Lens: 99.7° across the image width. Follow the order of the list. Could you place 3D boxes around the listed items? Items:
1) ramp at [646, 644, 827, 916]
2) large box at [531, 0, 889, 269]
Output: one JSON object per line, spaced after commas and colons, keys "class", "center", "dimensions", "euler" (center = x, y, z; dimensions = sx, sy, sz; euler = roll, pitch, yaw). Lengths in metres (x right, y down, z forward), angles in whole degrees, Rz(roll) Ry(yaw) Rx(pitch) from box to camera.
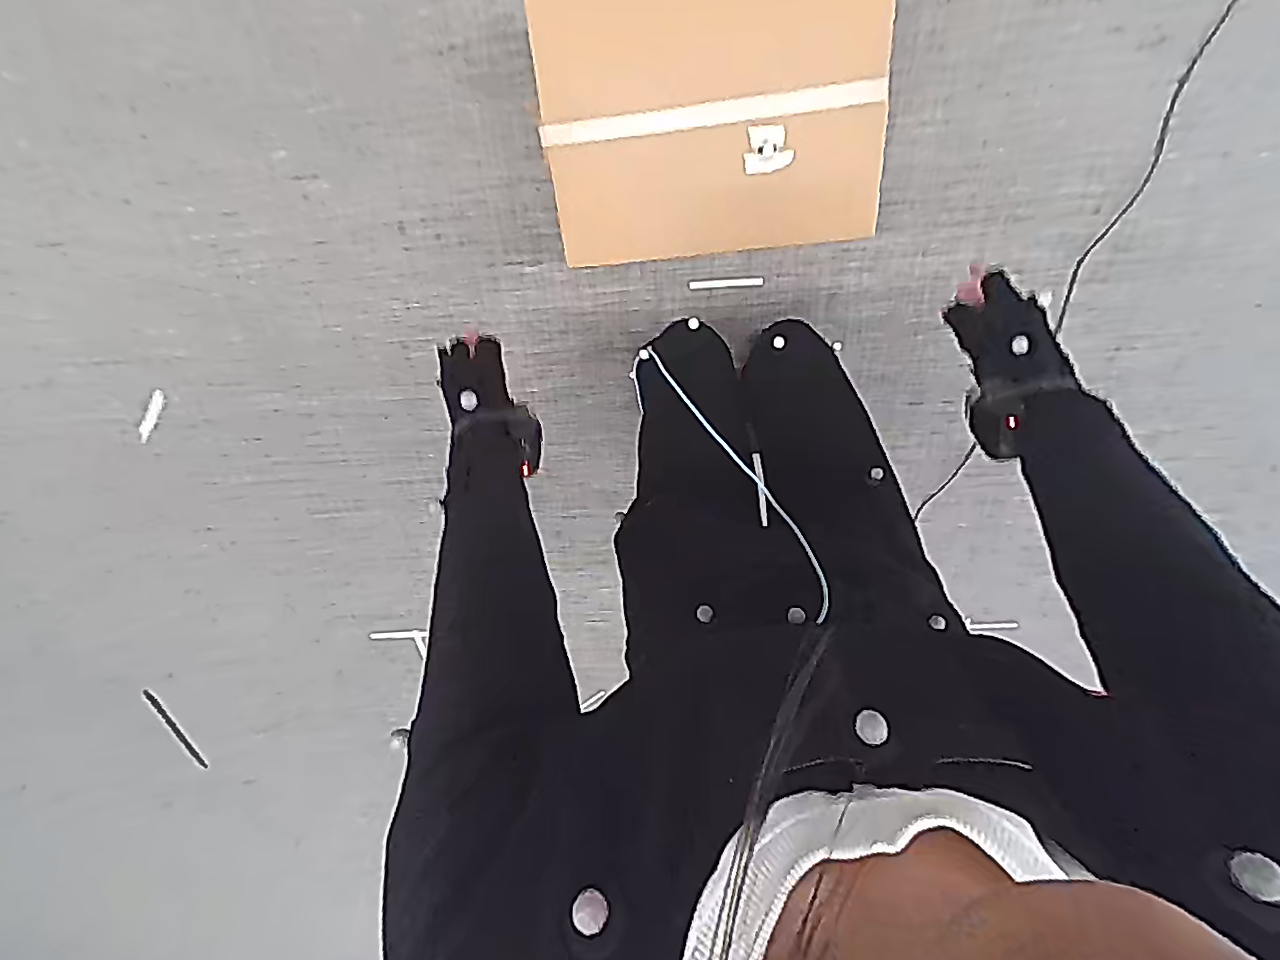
{"class": "ramp", "center": [0.270, 0.923, 1.614], "dimensions": [0.509, 0.206, 0.991], "euler": [-1, 118, 7]}
{"class": "large box", "center": [0.097, -0.511, 0.786], "dimensions": [0.408, 0.320, 0.320], "euler": [-4, 119, 6]}
